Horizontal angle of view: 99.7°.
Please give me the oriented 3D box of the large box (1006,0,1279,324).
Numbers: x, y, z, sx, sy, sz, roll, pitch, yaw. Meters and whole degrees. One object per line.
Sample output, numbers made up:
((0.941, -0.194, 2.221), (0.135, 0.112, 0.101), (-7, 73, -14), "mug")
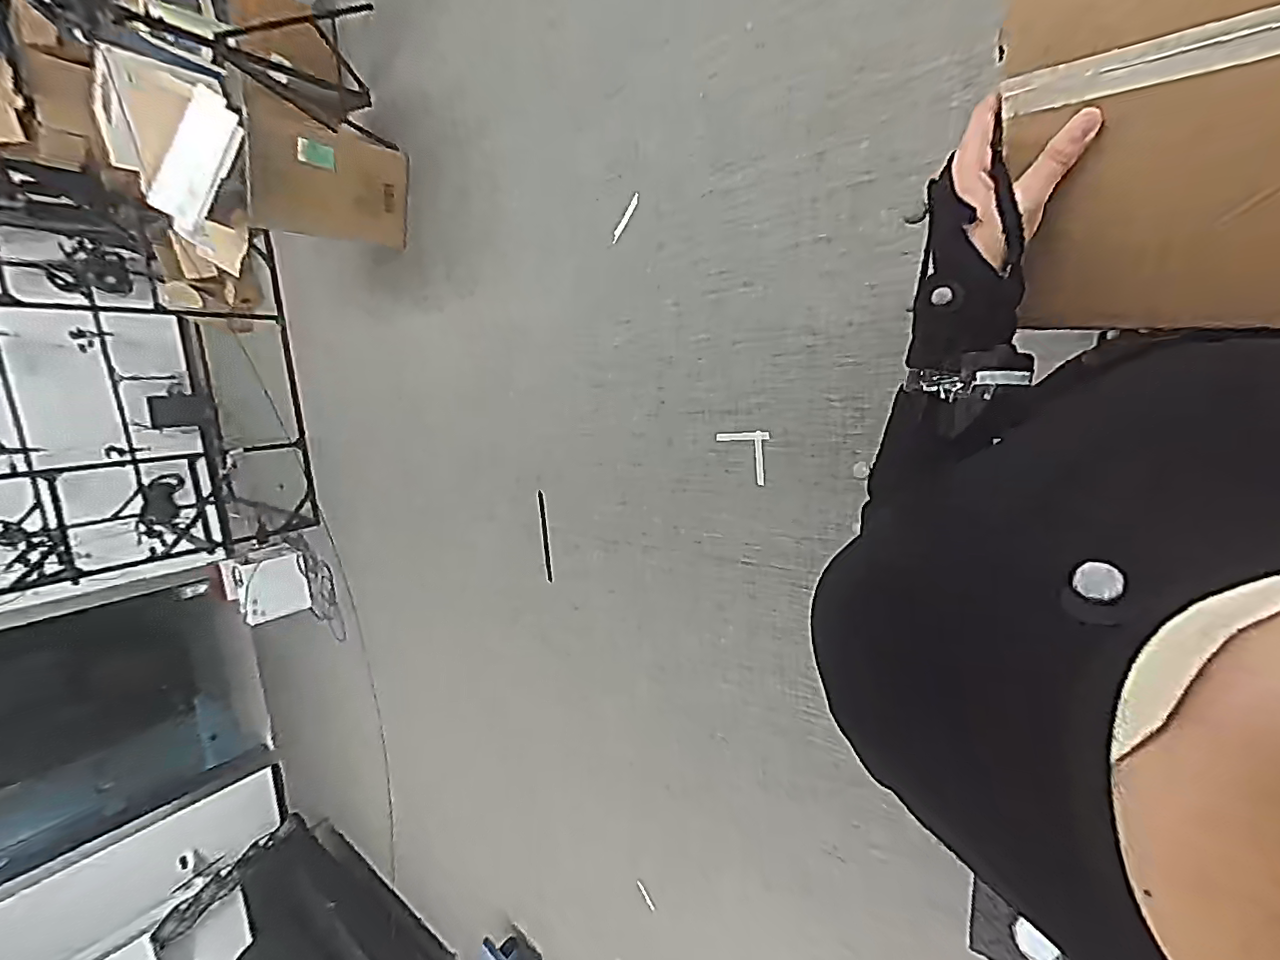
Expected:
((0.468, -0.300, 0.285), (0.408, 0.320, 0.320), (13, 137, 43), "large box")
